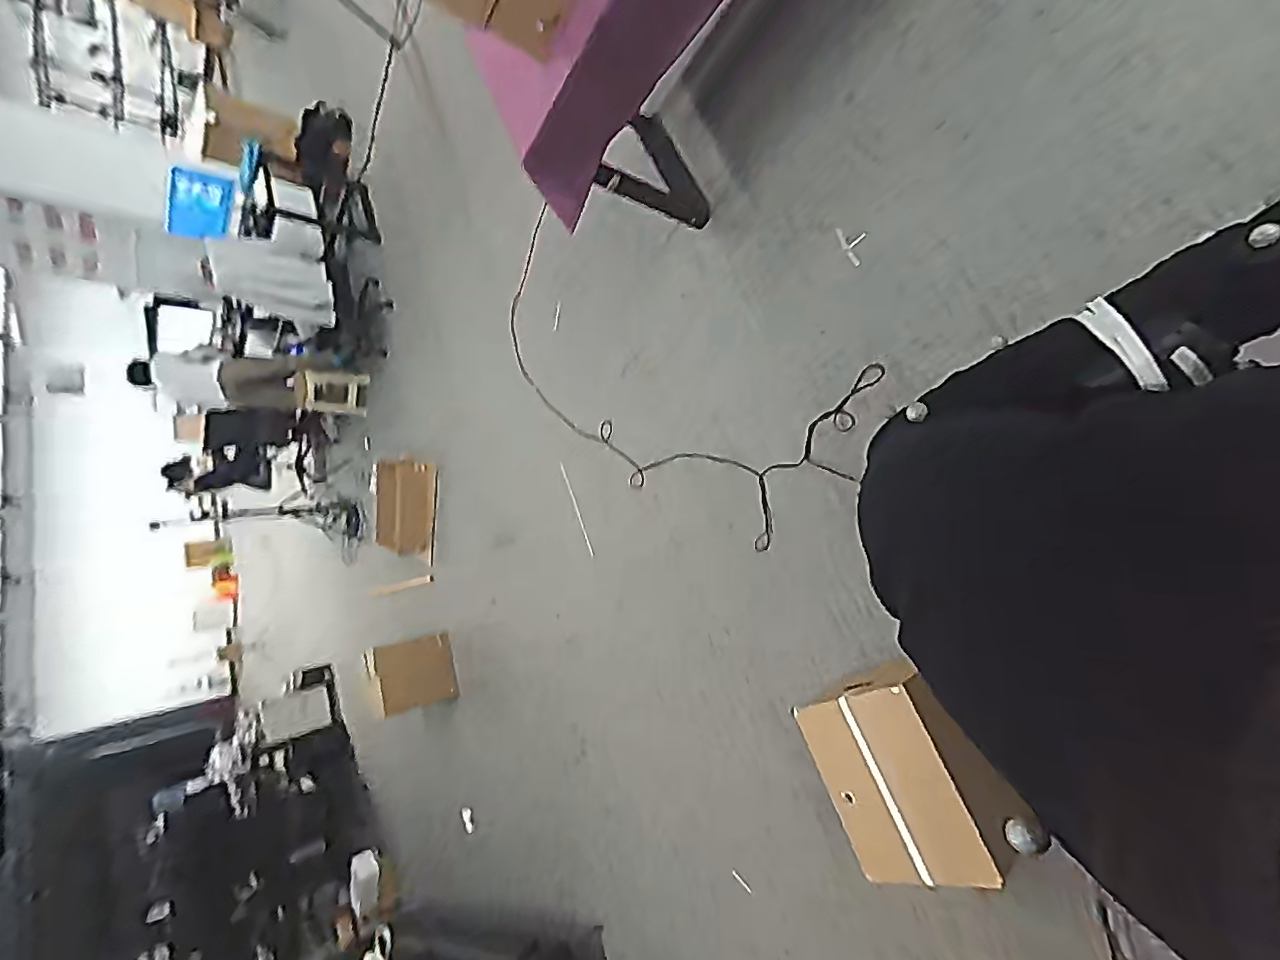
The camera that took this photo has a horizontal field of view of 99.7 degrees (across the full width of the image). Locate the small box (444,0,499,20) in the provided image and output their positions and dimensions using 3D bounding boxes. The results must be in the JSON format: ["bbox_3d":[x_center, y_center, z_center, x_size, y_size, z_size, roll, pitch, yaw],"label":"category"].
[{"bbox_3d":[-0.381,-1.139,1.150,0.168,0.176,0.179,-36,68,40],"label":"small box"}]

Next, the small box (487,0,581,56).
[{"bbox_3d":[-0.264,-1.153,1.264,0.168,0.176,0.179,-37,67,40],"label":"small box"}]
